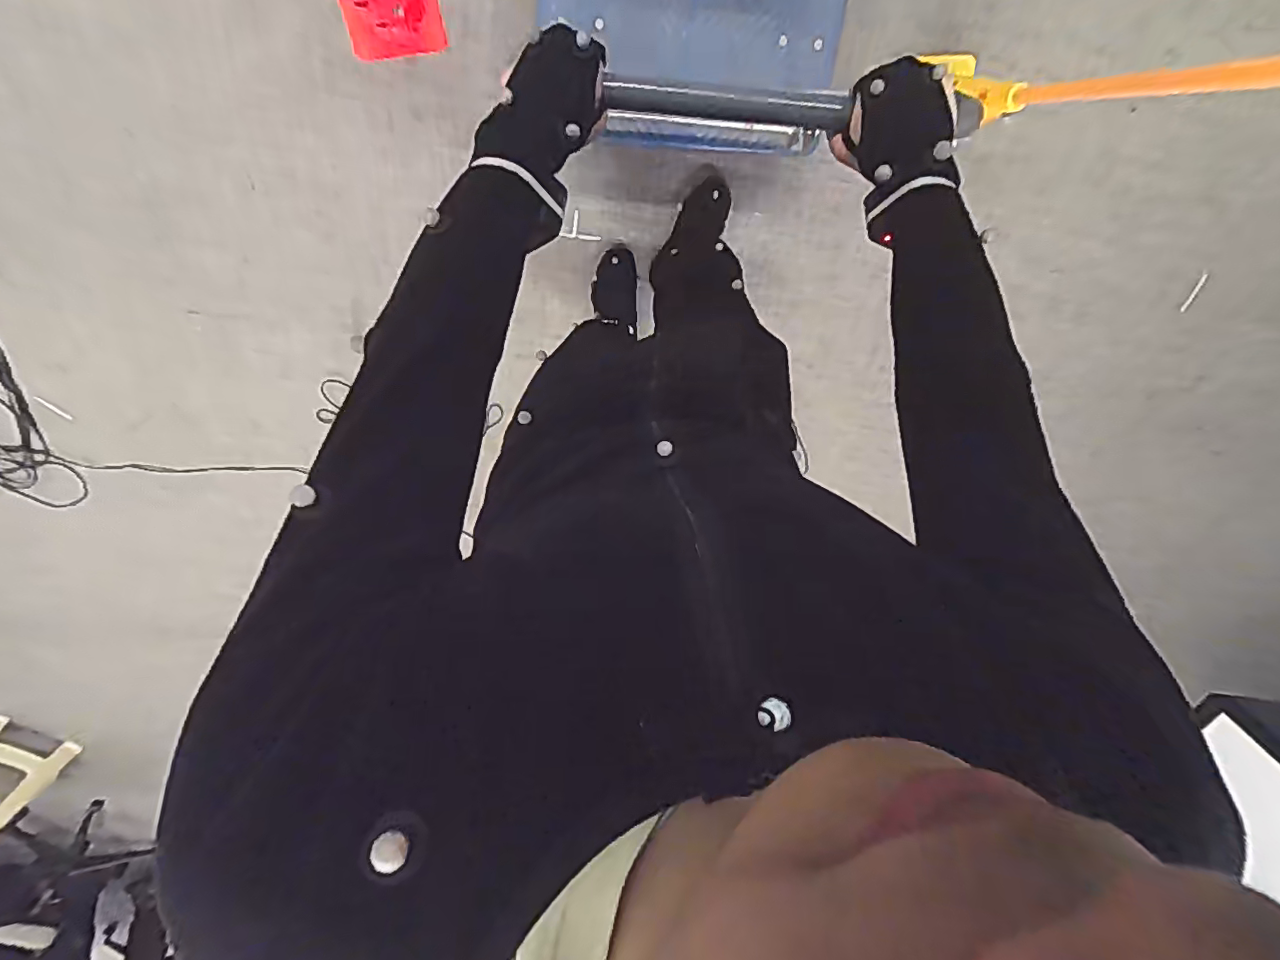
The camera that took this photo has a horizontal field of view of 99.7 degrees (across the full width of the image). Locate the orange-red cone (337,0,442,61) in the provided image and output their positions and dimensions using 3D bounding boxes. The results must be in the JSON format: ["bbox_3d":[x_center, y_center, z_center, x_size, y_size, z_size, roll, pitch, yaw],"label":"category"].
[{"bbox_3d":[-0.511,-0.890,0.951,0.199,0.360,0.198,-5,121,2],"label":"orange-red cone"}]
